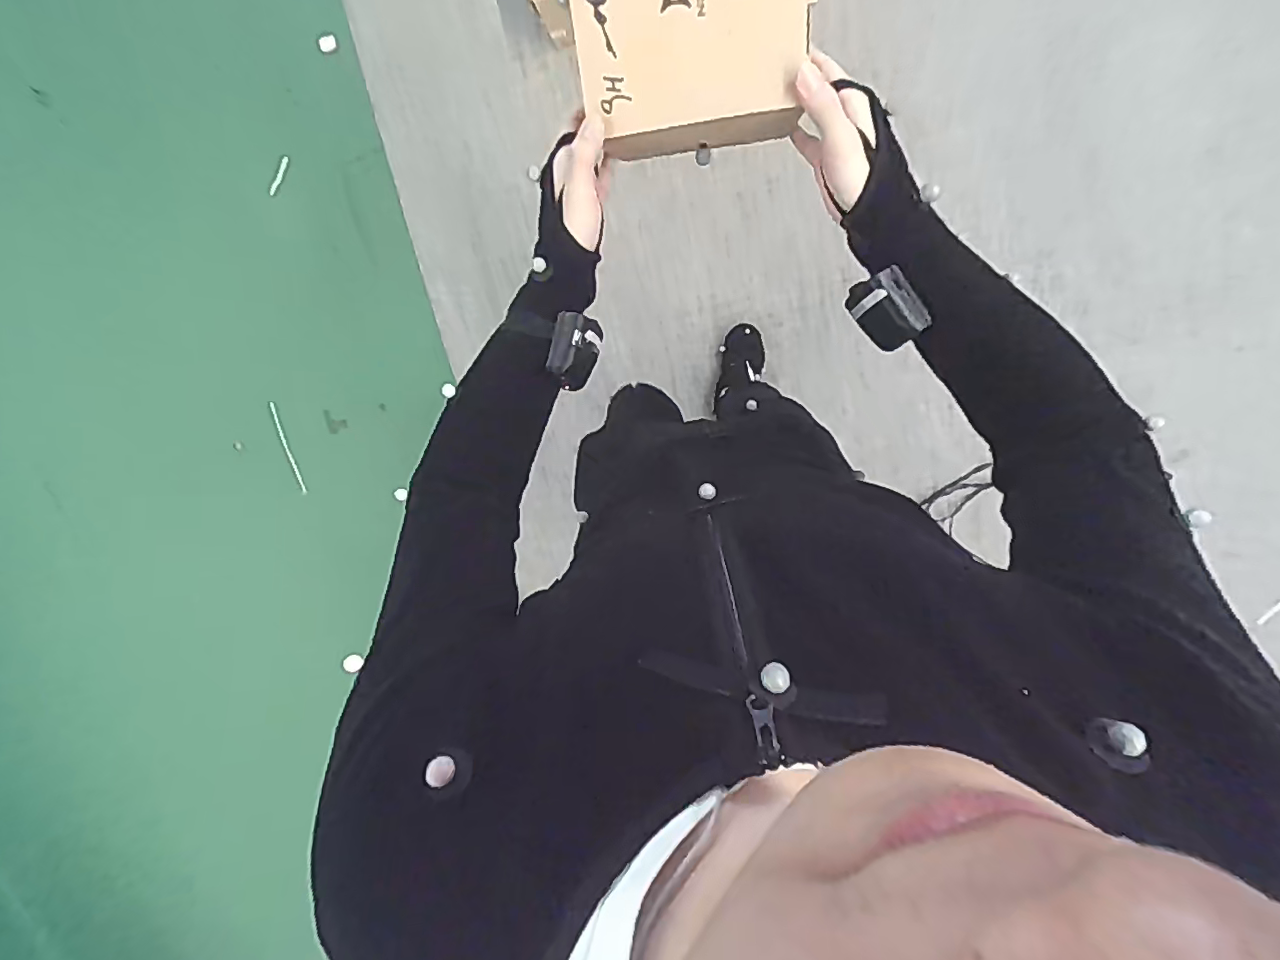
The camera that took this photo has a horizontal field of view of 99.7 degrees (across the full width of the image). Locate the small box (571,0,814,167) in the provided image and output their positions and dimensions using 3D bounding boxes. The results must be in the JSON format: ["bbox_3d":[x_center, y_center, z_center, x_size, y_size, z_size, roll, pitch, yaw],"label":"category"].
[{"bbox_3d":[0.045,-0.382,0.463,0.179,0.176,0.168,-3,112,10],"label":"small box"}]
